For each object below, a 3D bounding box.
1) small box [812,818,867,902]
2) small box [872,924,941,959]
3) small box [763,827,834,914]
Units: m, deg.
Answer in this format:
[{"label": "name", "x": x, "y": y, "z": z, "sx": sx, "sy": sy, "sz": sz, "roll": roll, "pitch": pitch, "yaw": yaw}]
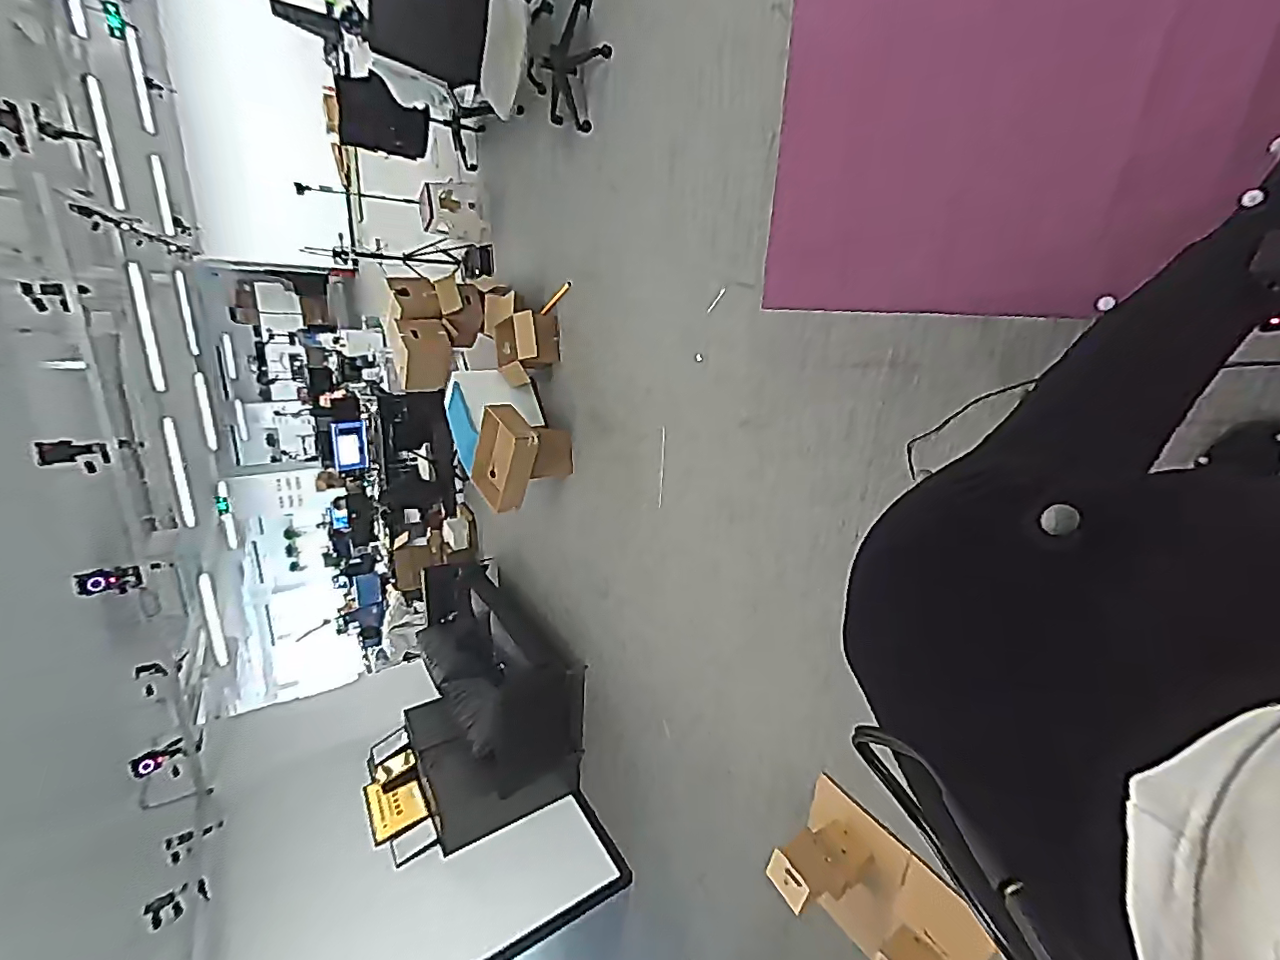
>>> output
[{"label": "small box", "x": 0.743, "y": 1.452, "z": 2.077, "sx": 0.168, "sy": 0.176, "sz": 0.179, "roll": 35, "pitch": 127, "yaw": 49}, {"label": "small box", "x": 0.920, "y": 1.708, "z": 1.864, "sx": 0.168, "sy": 0.176, "sz": 0.179, "roll": 18, "pitch": 113, "yaw": 55}, {"label": "small box", "x": 0.591, "y": 1.438, "z": 2.003, "sx": 0.168, "sy": 0.176, "sz": 0.179, "roll": 40, "pitch": 131, "yaw": 46}]
